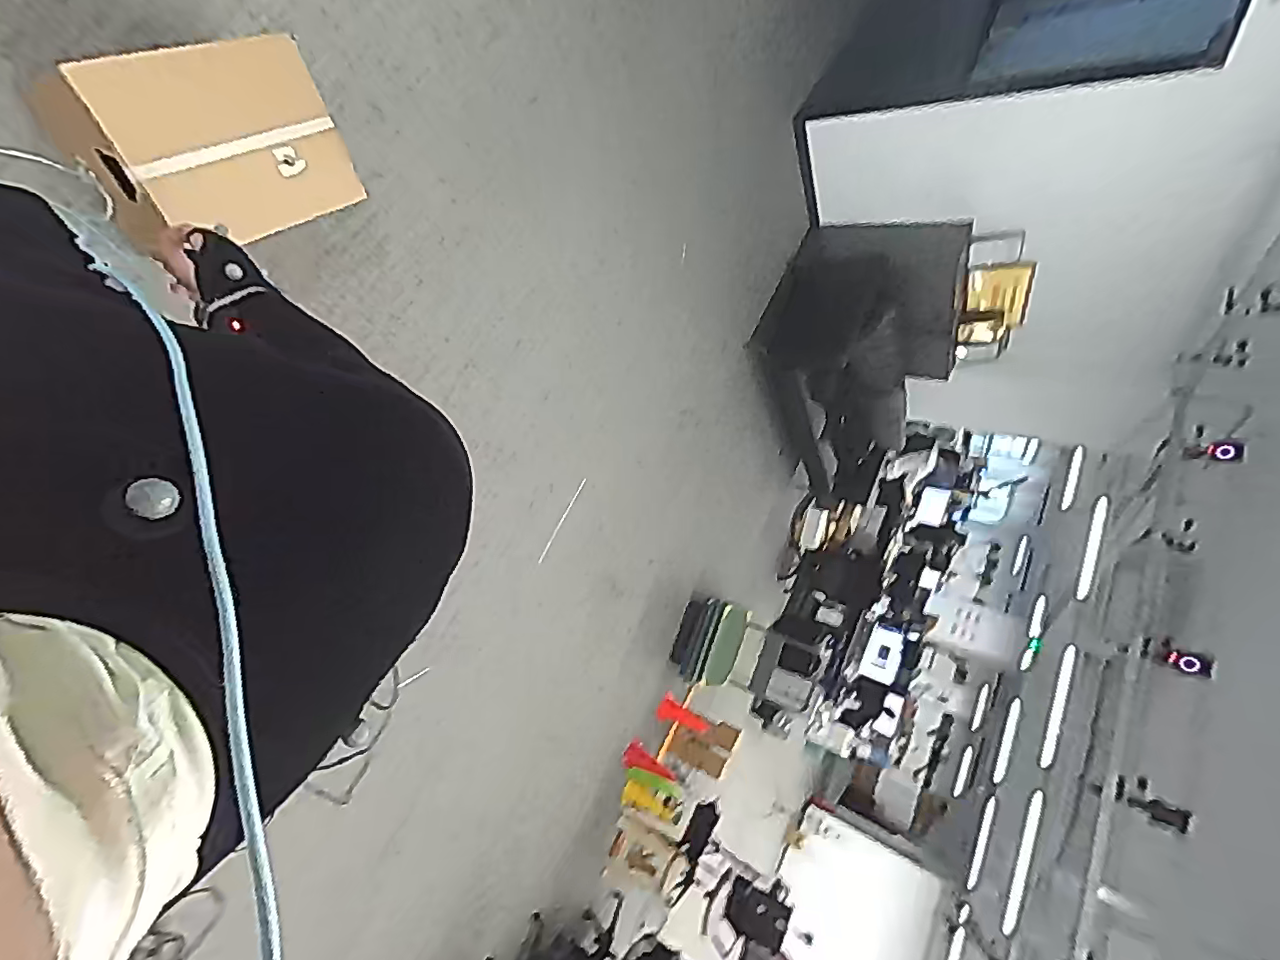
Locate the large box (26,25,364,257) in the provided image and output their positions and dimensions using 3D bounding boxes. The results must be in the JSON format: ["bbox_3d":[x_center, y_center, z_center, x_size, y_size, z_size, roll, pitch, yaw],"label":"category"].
[{"bbox_3d":[-0.902,-0.699,1.139,0.408,0.320,0.320,-49,140,-35],"label":"large box"}]
